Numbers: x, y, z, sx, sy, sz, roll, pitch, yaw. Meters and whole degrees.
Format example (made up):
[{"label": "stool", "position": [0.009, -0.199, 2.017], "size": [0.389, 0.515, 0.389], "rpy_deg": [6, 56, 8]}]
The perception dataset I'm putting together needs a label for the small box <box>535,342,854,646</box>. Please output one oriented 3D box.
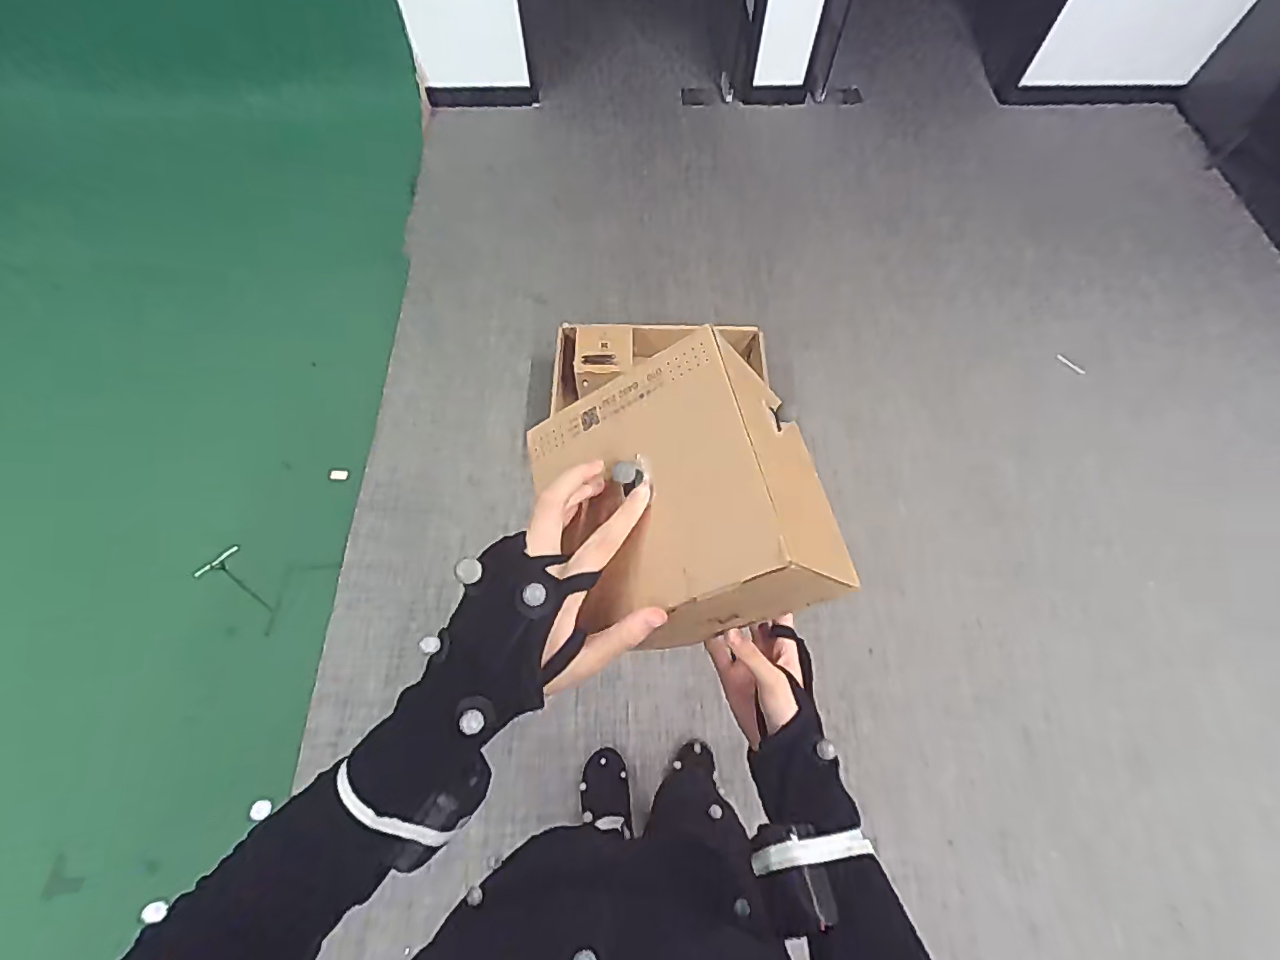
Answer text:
[{"label": "small box", "position": [0.038, 0.020, 0.417], "size": [0.168, 0.179, 0.176], "rpy_deg": [-25, 62, 26]}]
